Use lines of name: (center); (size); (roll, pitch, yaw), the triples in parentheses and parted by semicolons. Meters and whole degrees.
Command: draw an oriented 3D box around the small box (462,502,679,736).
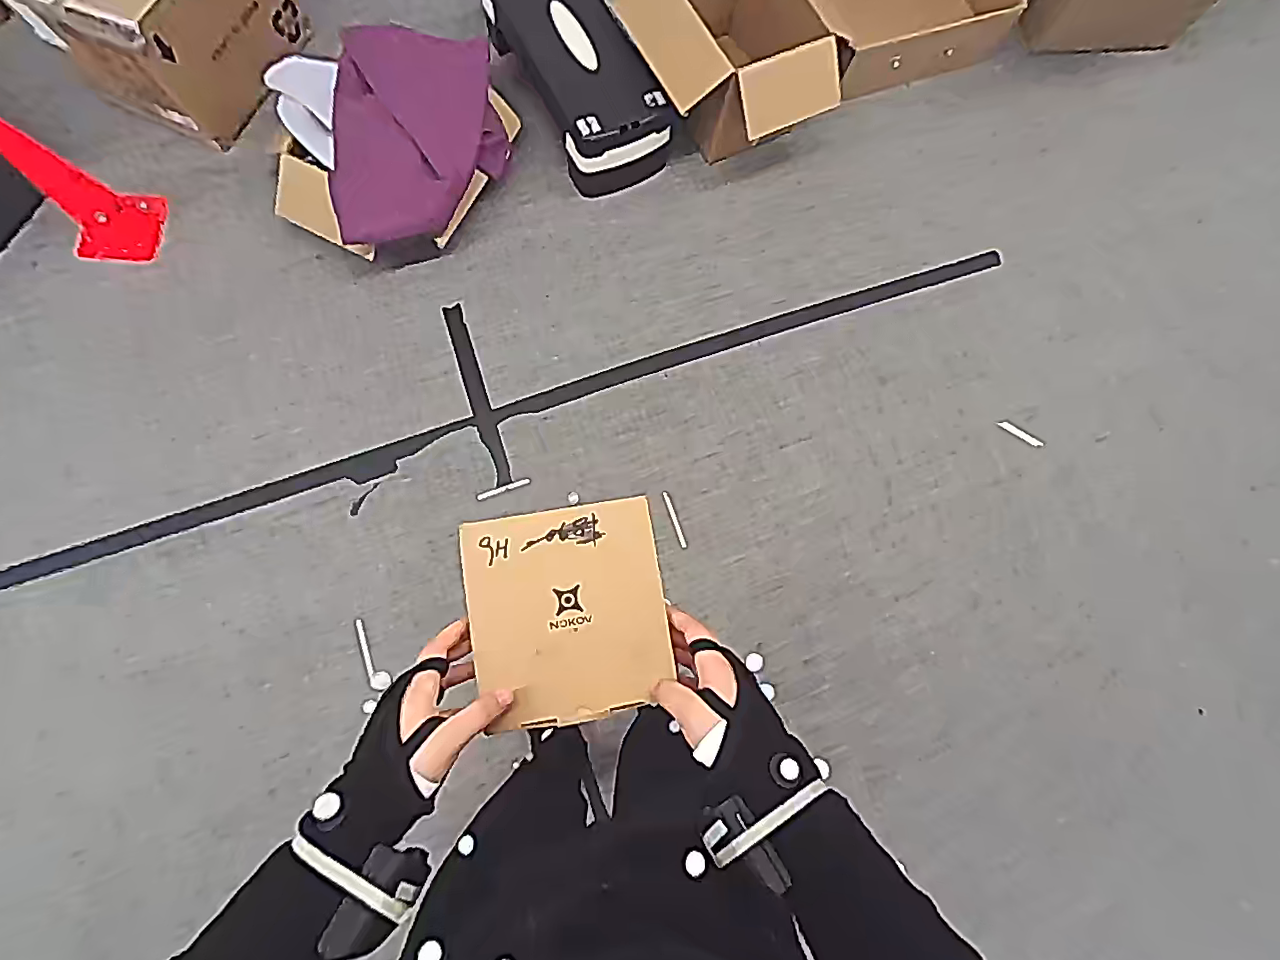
small box: (-0.064, 0.124, 0.537); (0.168, 0.176, 0.179); (-9, 83, -6)
